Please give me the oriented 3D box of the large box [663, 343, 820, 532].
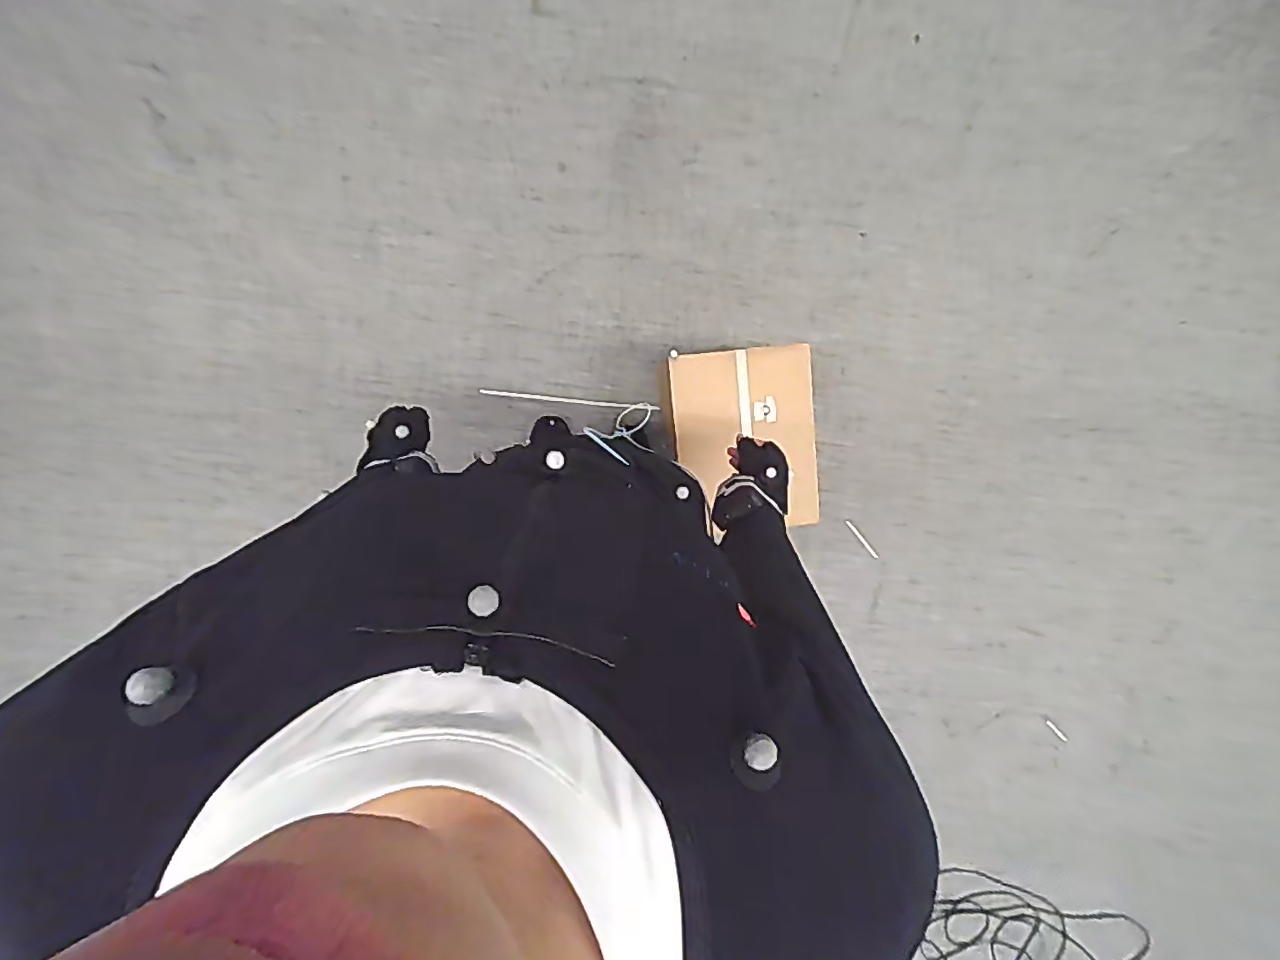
[{"bbox_3d":[0.237,-0.108,1.362,0.320,0.320,0.408,-6,97,-2],"label":"large box"}]
